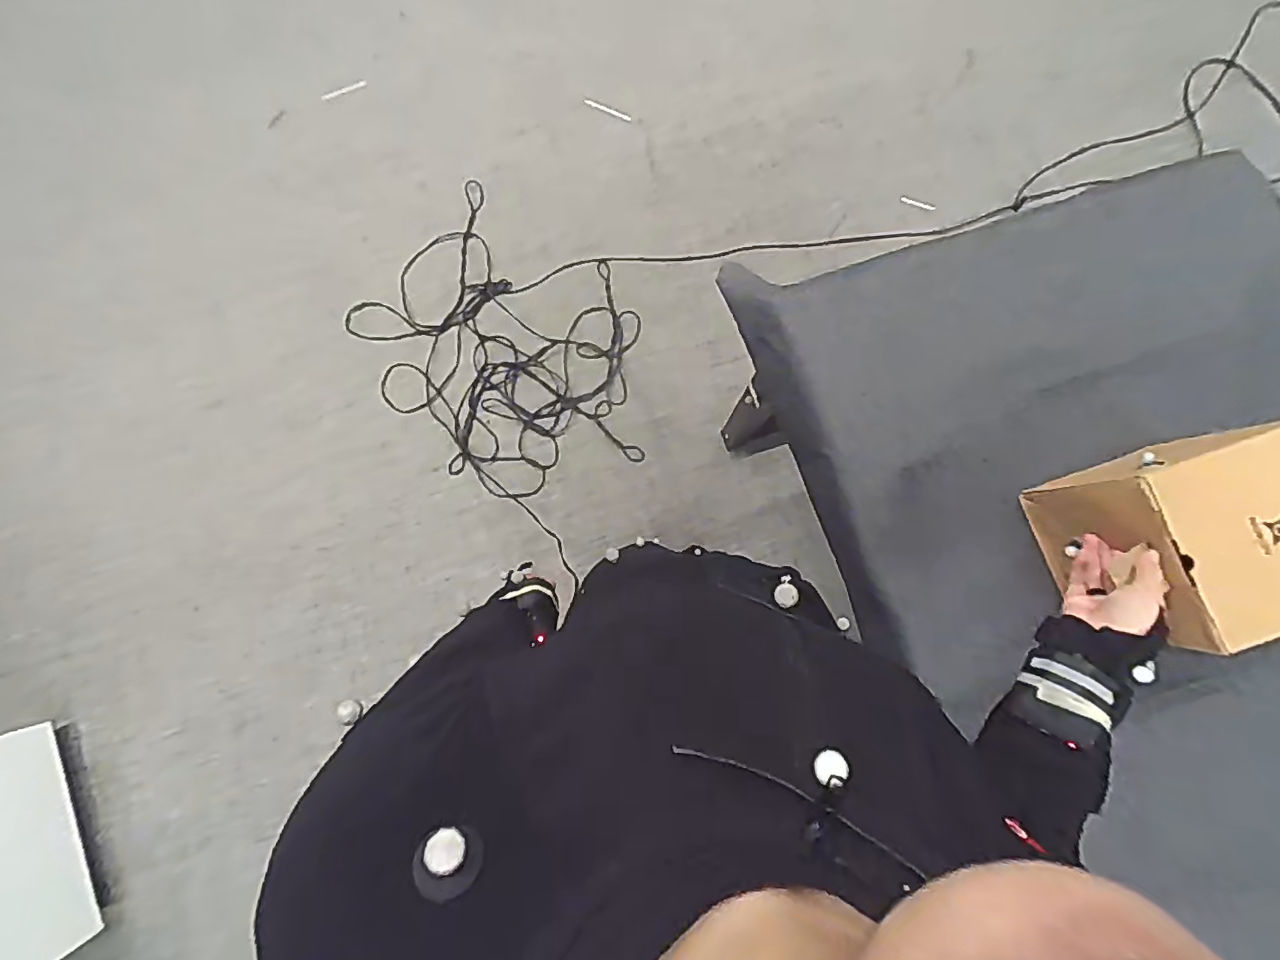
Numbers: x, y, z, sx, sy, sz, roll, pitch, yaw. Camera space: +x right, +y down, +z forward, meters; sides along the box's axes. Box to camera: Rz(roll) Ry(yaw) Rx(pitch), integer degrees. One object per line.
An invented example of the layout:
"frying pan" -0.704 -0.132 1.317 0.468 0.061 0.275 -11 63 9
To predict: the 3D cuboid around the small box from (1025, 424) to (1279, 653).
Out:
"small box" 0.554 0.052 0.551 0.179 0.176 0.168 -20 84 -1
